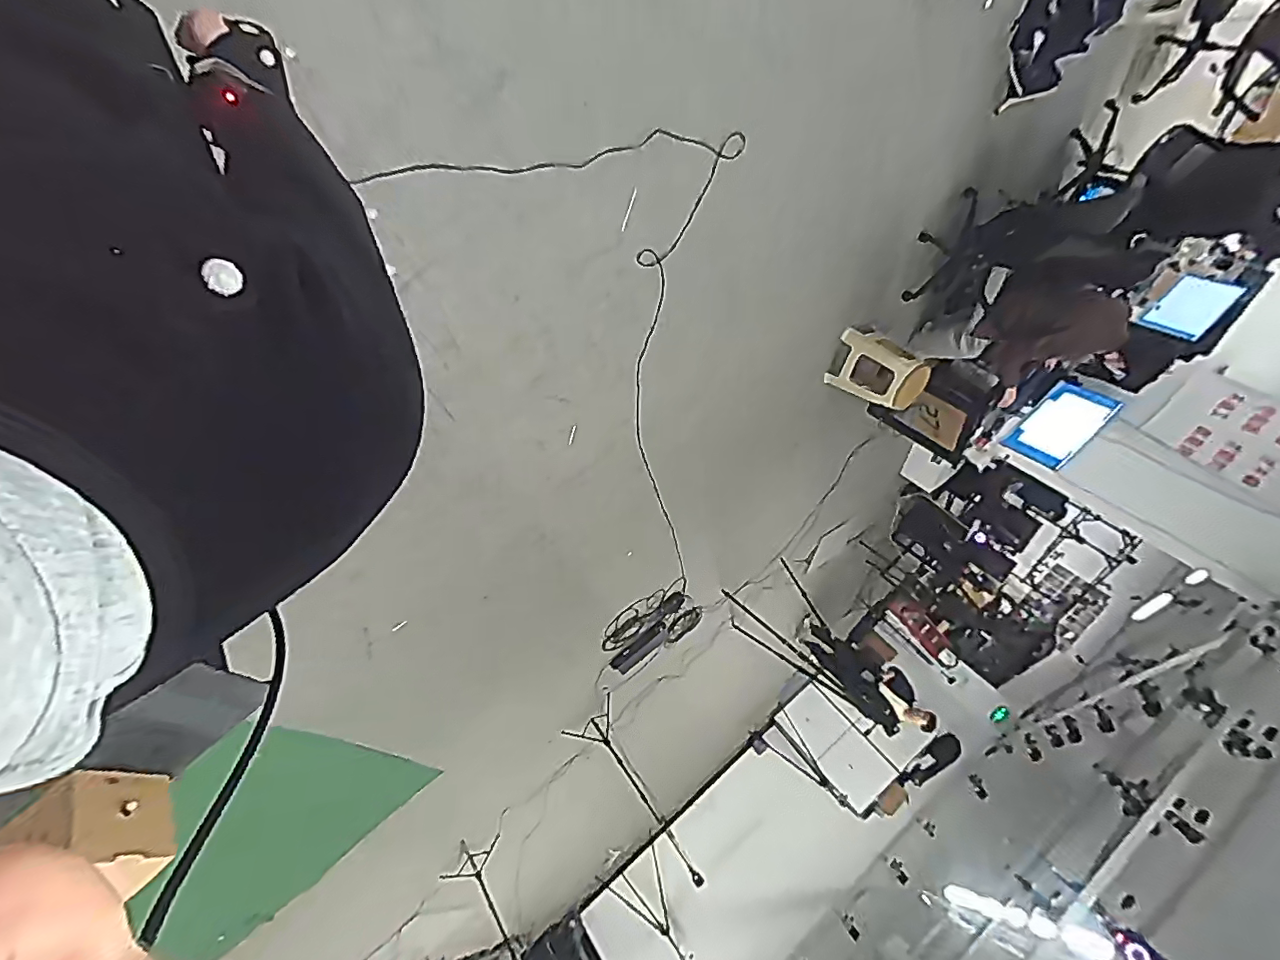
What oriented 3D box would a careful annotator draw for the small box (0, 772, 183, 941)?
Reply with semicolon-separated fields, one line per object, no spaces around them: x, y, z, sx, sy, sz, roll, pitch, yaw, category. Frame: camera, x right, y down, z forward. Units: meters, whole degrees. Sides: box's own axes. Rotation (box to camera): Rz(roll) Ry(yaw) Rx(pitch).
-0.964;0.642;0.947;0.179;0.176;0.168;-42;146;-8;small box
